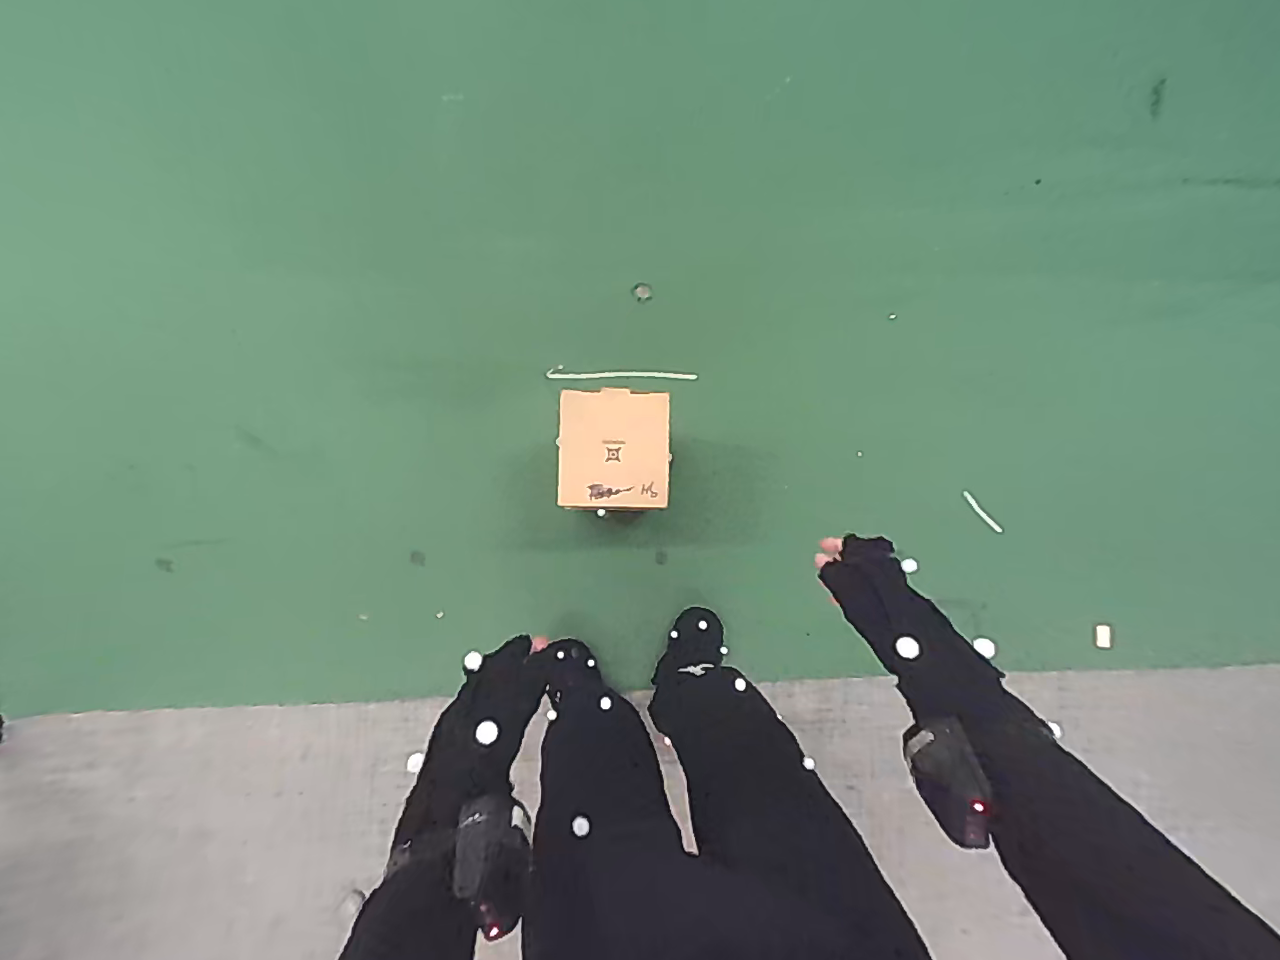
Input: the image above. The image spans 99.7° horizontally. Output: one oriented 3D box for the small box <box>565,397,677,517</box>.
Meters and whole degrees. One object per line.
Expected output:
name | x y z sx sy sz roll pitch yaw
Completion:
small box | -0.030 -0.030 0.891 0.168 0.176 0.179 1 86 -1
